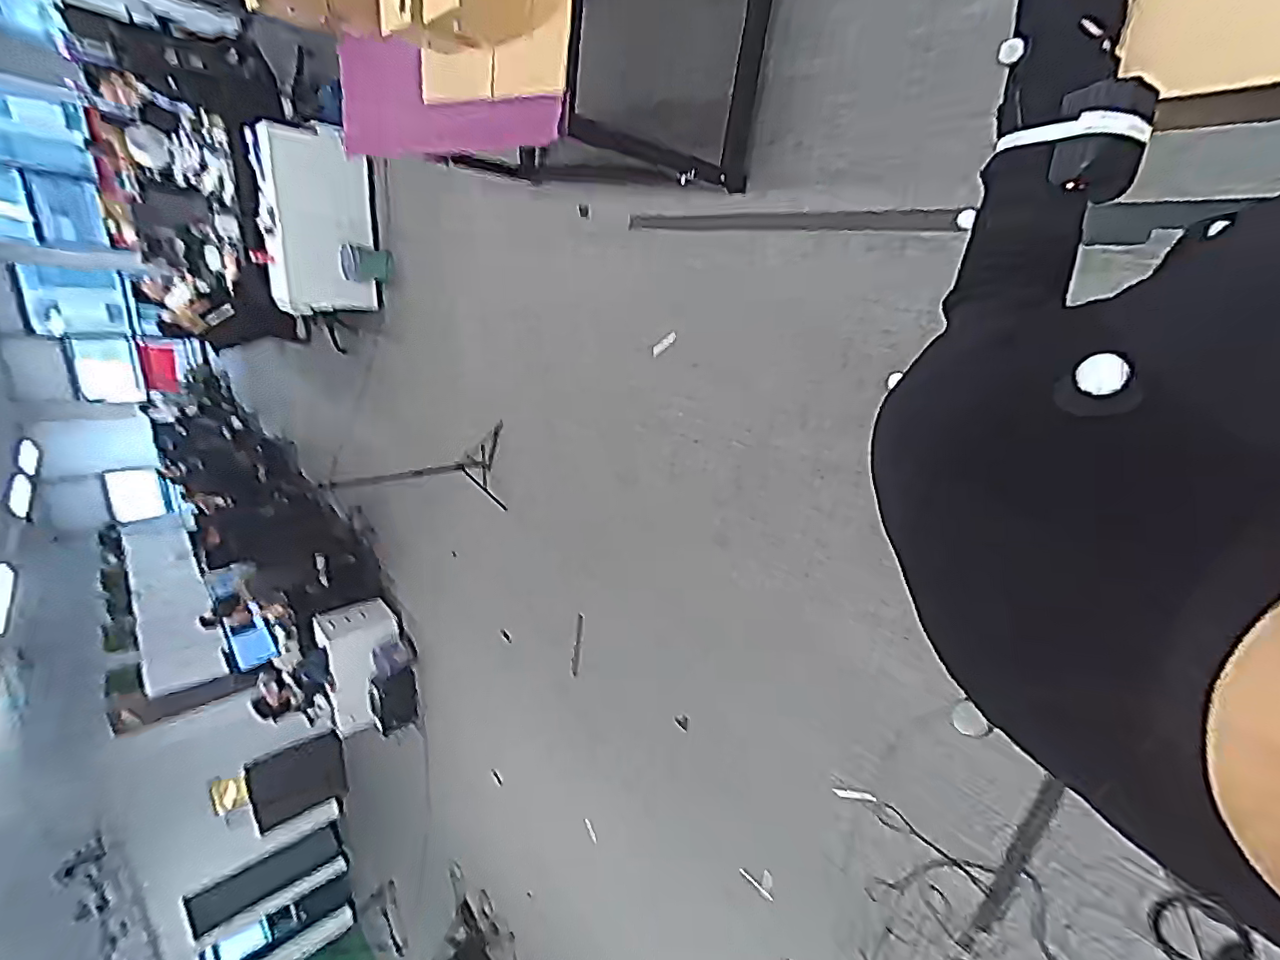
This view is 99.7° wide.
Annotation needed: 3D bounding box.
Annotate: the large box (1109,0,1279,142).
[{"bbox_3d":[0.585,-0.412,0.314,0.408,0.320,0.320,20,124,39],"label":"large box"}]
